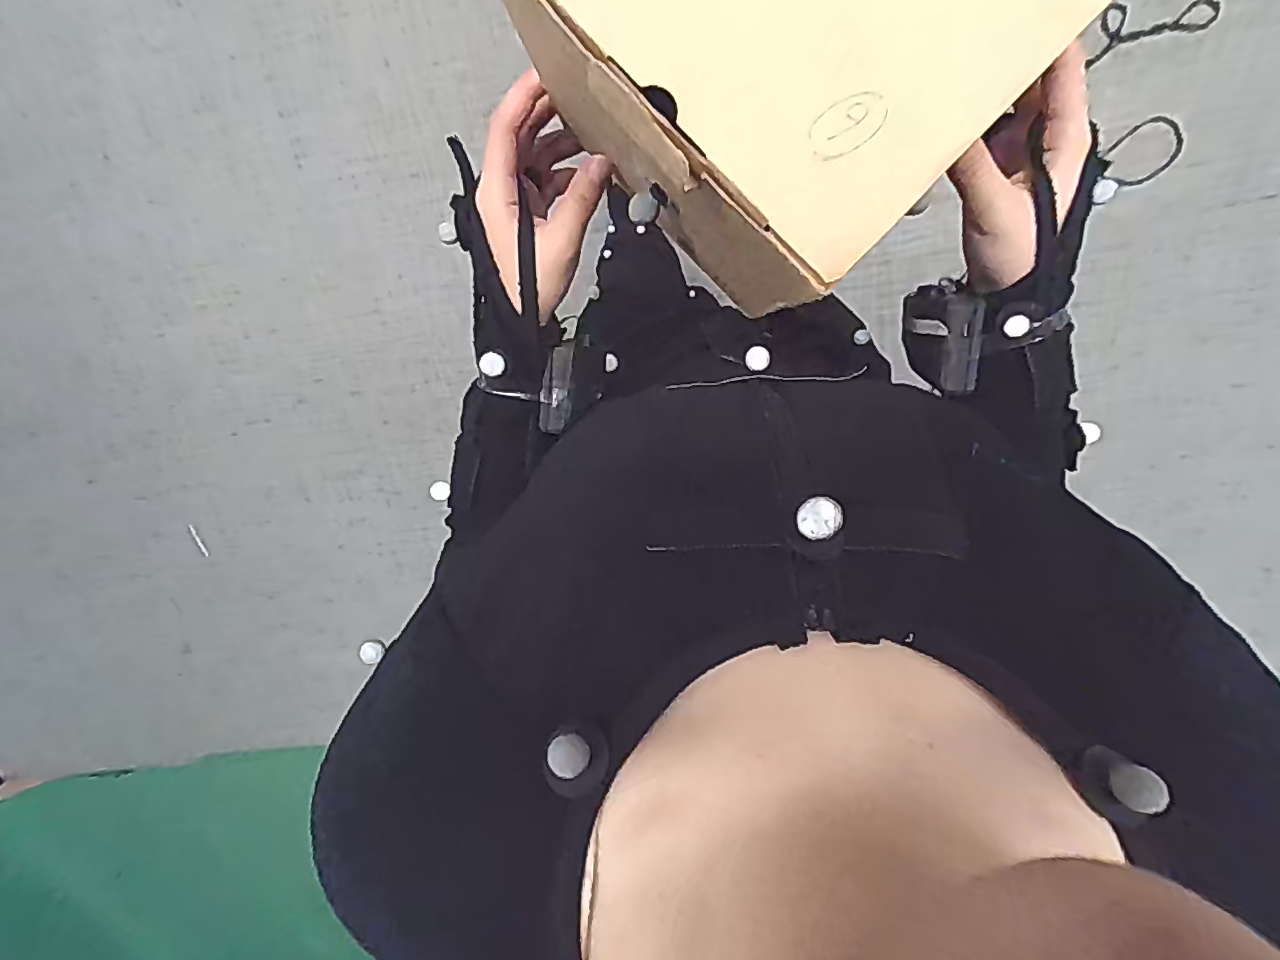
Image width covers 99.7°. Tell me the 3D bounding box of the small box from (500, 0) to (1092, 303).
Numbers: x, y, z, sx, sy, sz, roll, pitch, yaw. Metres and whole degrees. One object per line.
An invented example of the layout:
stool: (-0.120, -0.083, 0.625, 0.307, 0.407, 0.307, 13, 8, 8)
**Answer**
small box: (0.067, -0.203, 0.251, 0.168, 0.176, 0.179, 42, 103, -7)
